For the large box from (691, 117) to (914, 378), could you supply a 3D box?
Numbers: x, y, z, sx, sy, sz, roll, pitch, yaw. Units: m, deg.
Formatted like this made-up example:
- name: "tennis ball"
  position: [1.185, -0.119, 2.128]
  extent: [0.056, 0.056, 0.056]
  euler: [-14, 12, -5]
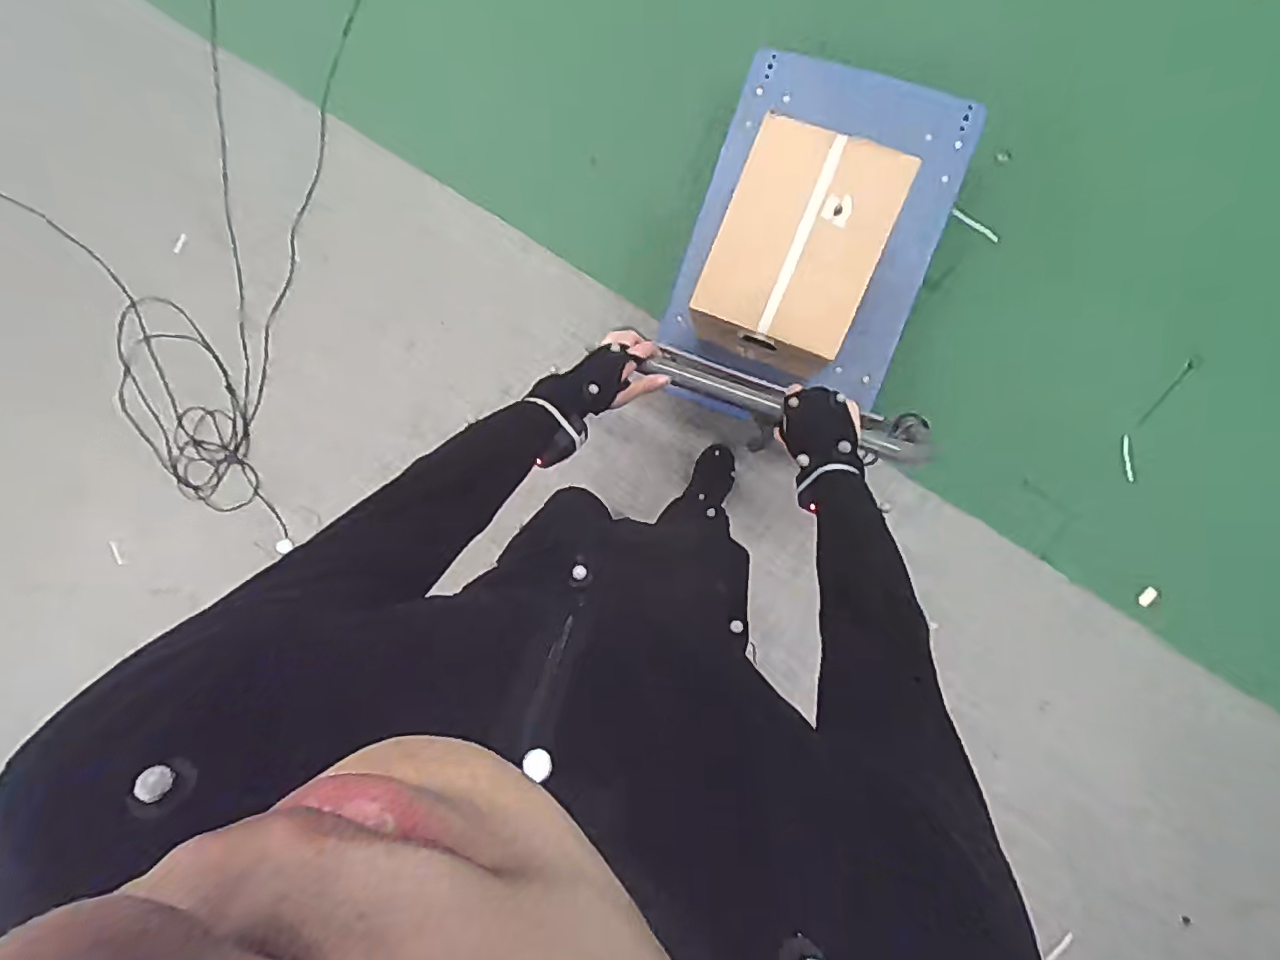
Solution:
- name: "large box"
  position: [0.338, -0.485, 1.213]
  extent: [0.320, 0.320, 0.408]
  euler: [23, 96, 7]
